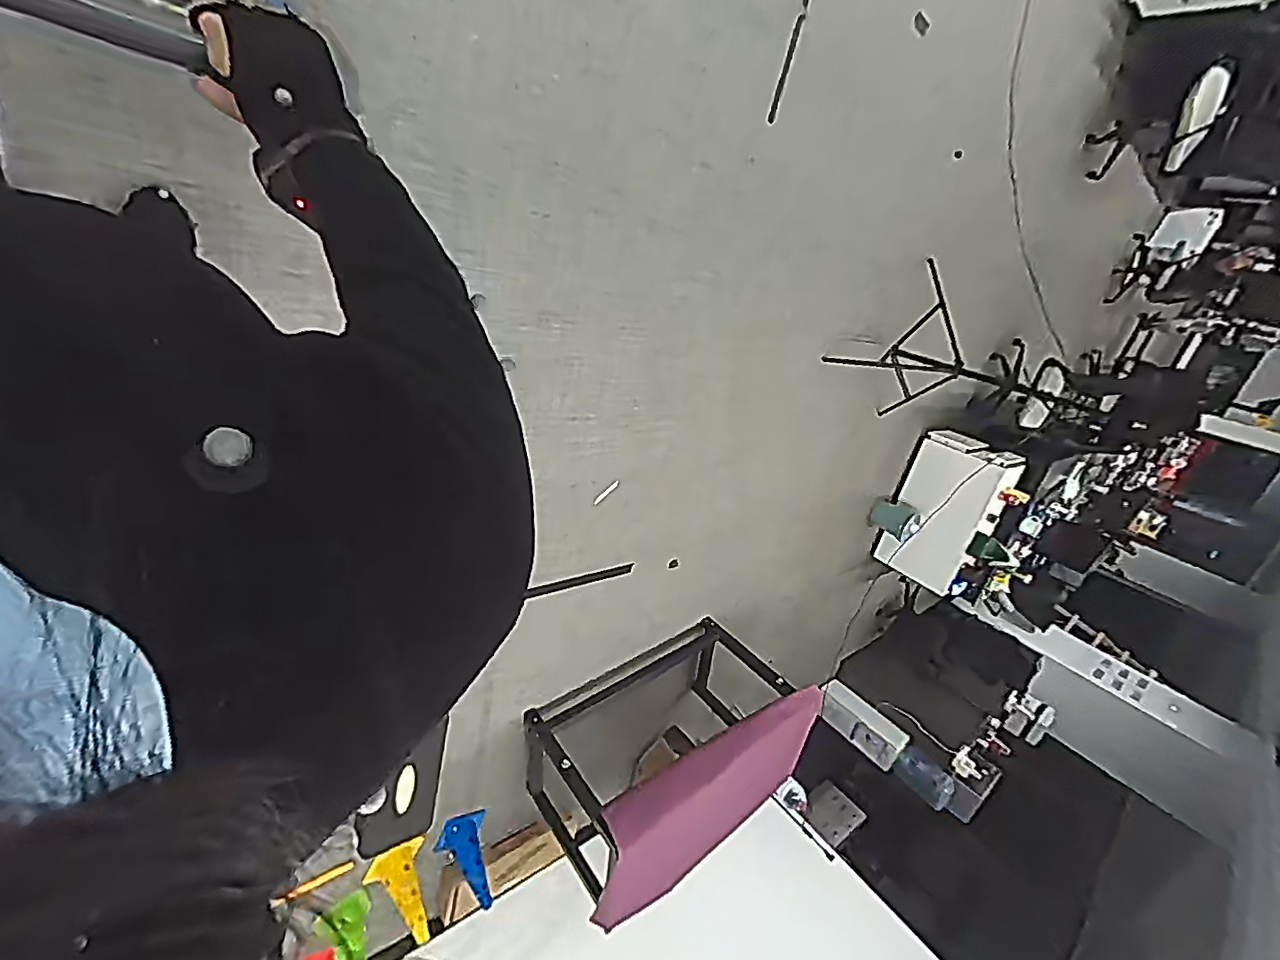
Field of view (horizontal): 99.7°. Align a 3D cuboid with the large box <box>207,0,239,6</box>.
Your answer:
[{"bbox_3d":[-0.695,-0.815,0.603,0.408,0.320,0.320,-7,125,-41],"label":"large box"}]
